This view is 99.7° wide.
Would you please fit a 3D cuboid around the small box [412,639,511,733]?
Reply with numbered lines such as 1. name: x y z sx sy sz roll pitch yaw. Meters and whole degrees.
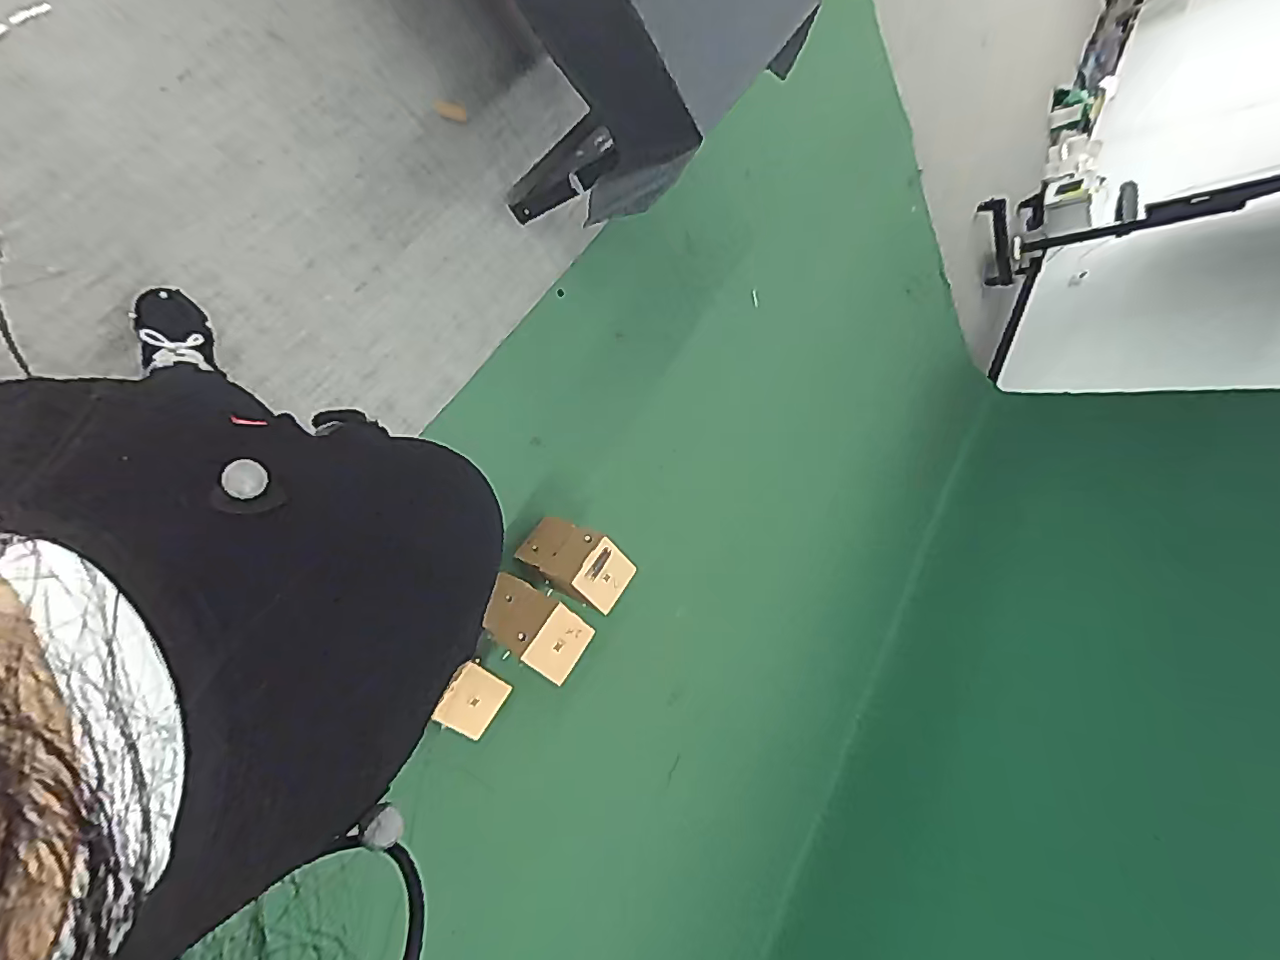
1. small box: -0.511 0.581 1.546 0.179 0.176 0.168 48 66 -34
